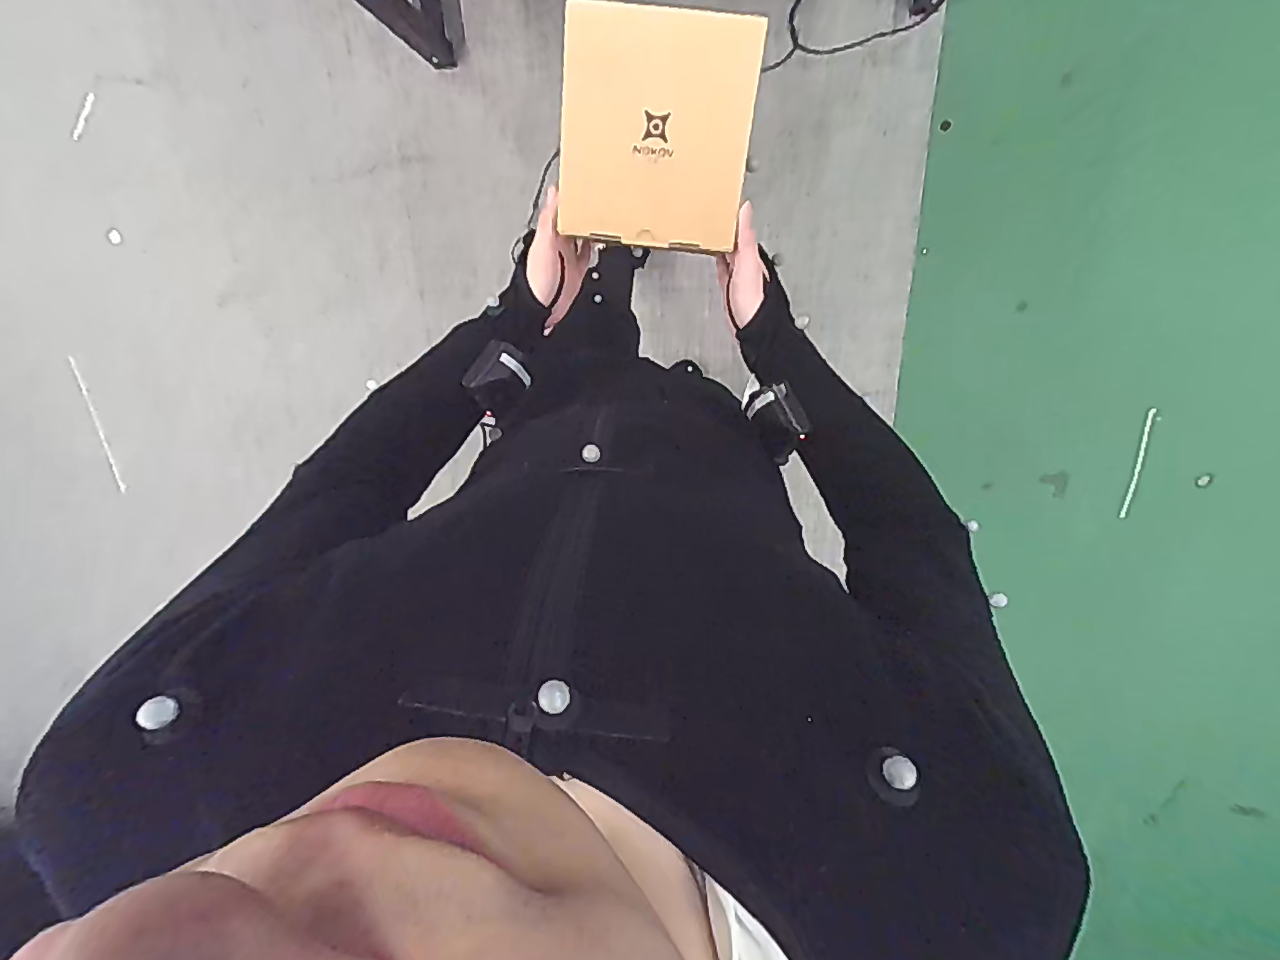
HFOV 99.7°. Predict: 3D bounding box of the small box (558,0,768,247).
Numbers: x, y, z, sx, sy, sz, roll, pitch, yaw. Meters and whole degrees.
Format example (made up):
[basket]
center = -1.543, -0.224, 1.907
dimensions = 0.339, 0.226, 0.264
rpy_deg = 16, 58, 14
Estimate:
[small box]
center = 0.018, -0.337, 0.540
dimensions = 0.168, 0.176, 0.179
rpy_deg = 7, 114, 1
